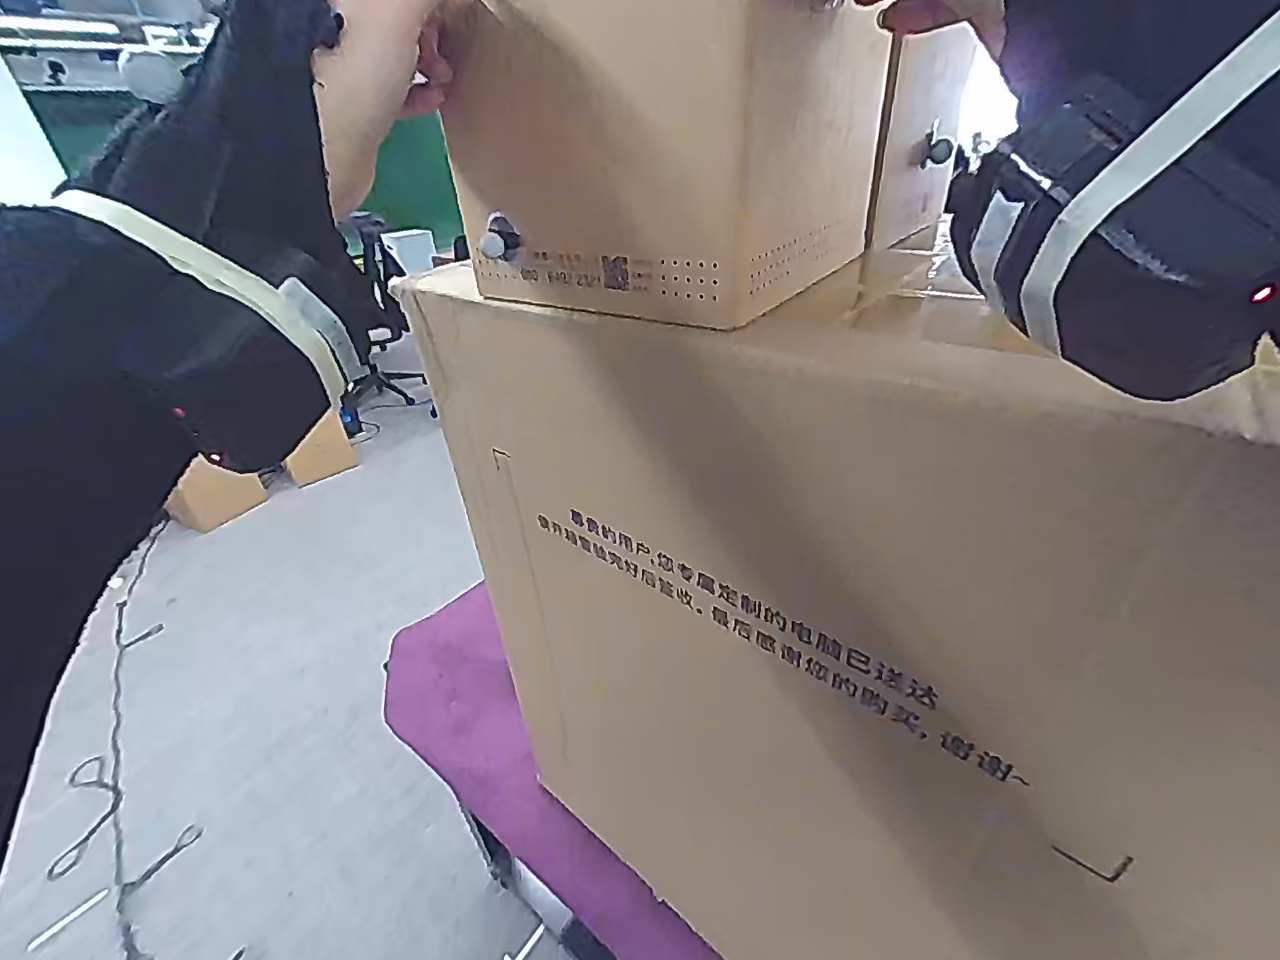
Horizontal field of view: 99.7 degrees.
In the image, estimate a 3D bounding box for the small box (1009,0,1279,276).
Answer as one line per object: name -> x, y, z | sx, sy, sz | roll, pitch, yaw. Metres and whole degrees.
small box -> 0.326, -0.209, 0.284 | 0.179, 0.176, 0.168 | 16, 37, 32
